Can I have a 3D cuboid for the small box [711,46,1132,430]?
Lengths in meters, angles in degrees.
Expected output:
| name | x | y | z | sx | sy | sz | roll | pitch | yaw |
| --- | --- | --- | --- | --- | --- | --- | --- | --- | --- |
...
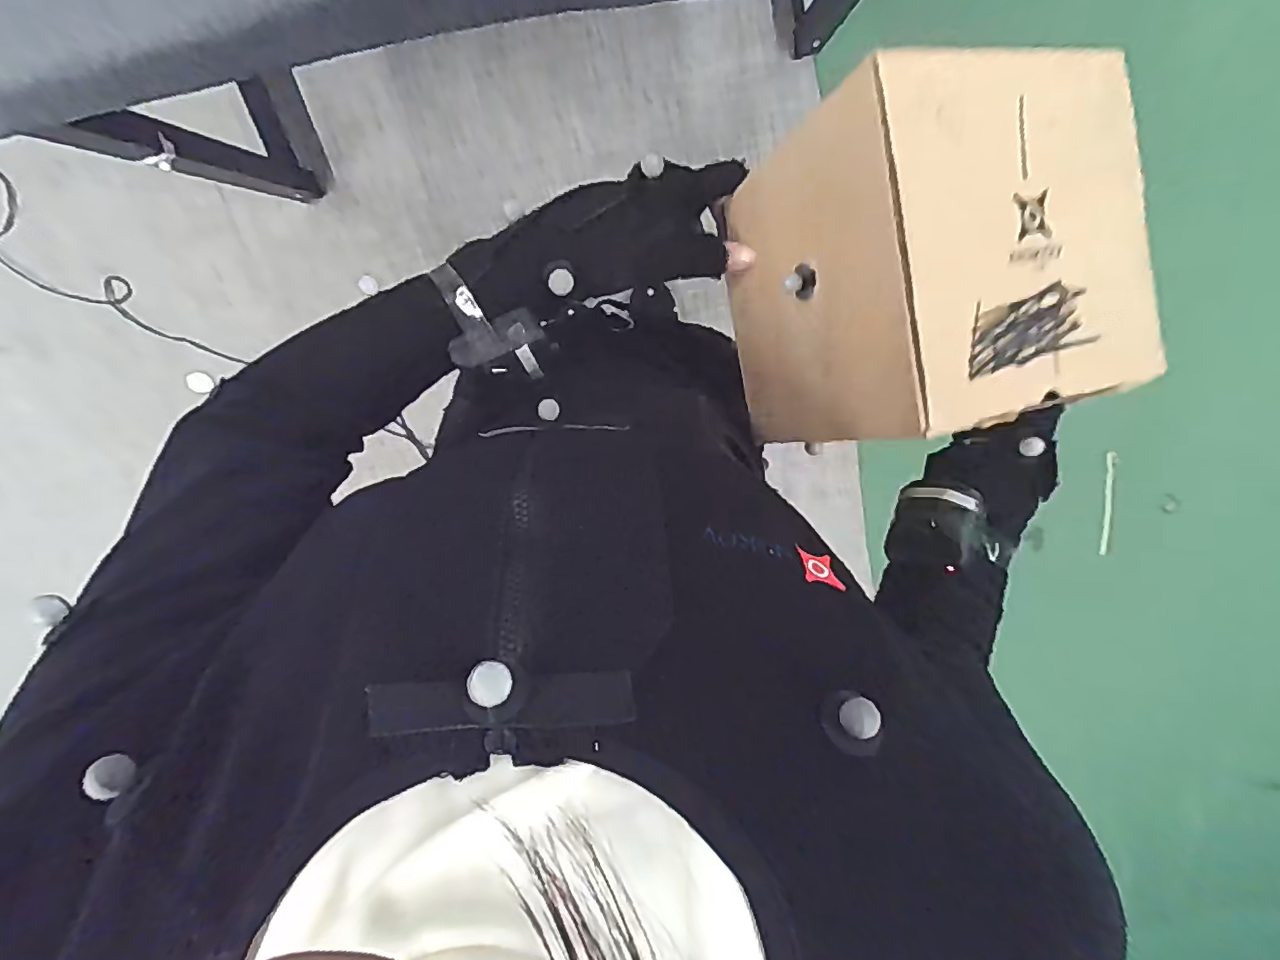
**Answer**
| name | x | y | z | sx | sy | sz | roll | pitch | yaw |
| --- | --- | --- | --- | --- | --- | --- | --- | --- | --- |
| small box | 0.163 | -0.130 | 0.353 | 0.168 | 0.176 | 0.179 | -11 | 94 | -18 |
